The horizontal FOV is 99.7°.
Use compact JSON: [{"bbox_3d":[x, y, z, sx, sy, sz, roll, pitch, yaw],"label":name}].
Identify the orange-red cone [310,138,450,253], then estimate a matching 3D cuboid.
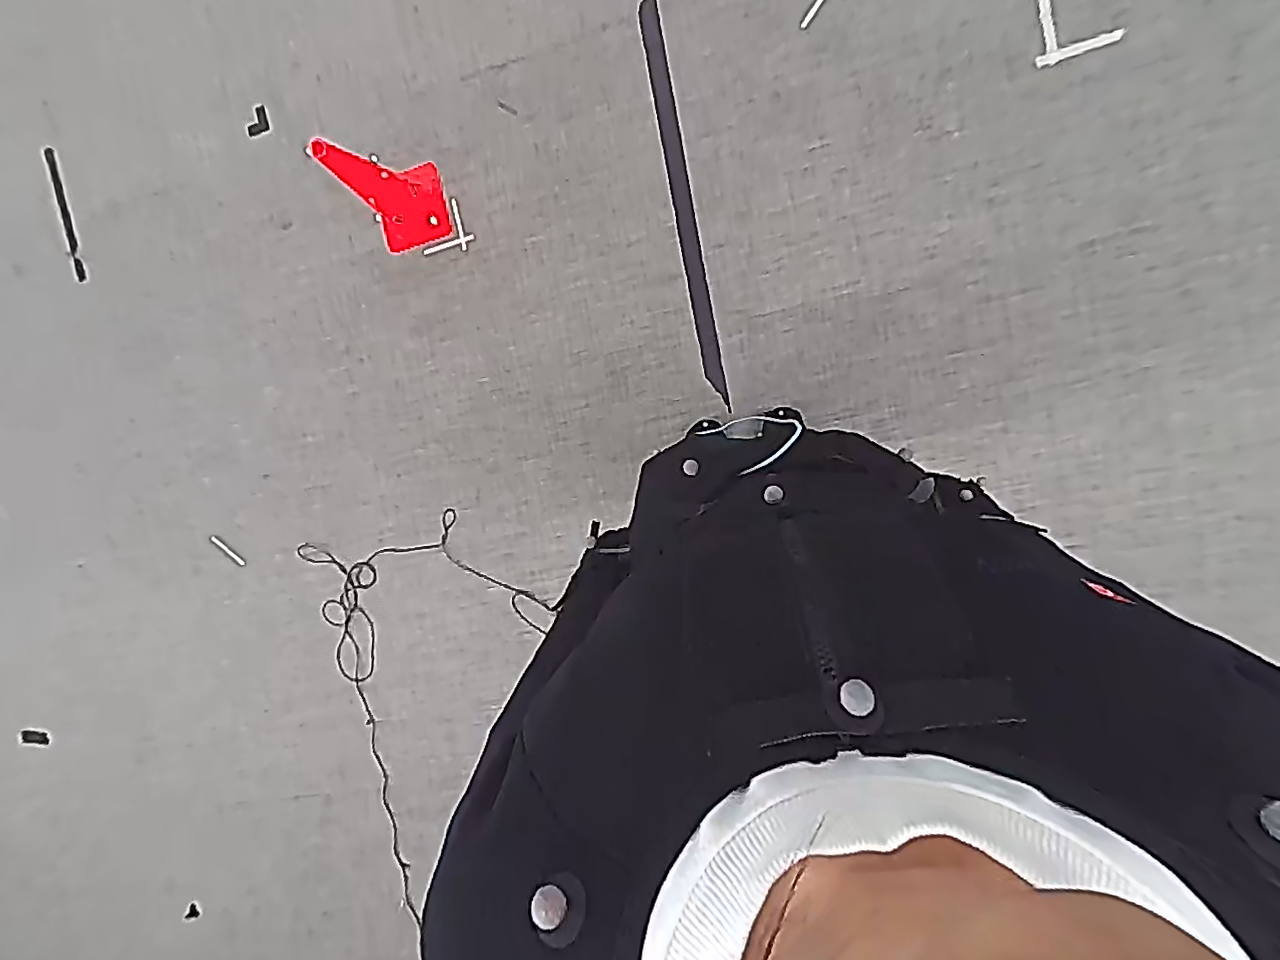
[{"bbox_3d":[-0.651,-0.718,1.307,0.198,0.360,0.199,-12,93,10],"label":"orange-red cone"}]
